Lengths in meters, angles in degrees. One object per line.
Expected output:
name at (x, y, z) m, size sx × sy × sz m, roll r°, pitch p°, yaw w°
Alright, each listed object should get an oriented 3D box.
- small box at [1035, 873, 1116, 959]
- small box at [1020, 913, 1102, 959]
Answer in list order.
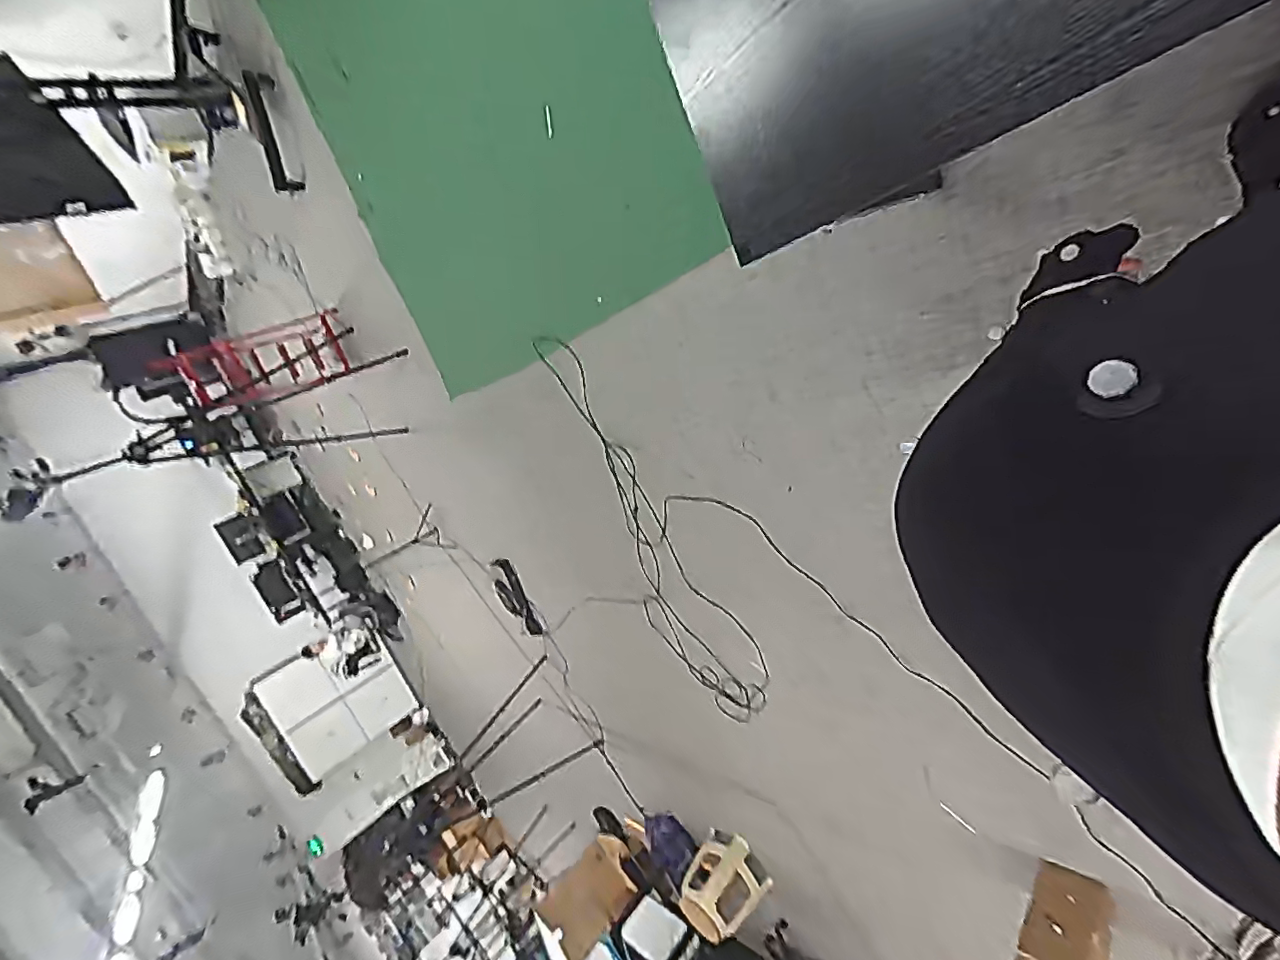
small box at (1.400, 1.416, 1.732) m, size 0.179 × 0.176 × 0.168 m, roll -6°, pitch 110°, yaw 50°
small box at (1.284, 1.486, 1.638) m, size 0.168 × 0.176 × 0.179 m, roll -5°, pitch 111°, yaw 50°
